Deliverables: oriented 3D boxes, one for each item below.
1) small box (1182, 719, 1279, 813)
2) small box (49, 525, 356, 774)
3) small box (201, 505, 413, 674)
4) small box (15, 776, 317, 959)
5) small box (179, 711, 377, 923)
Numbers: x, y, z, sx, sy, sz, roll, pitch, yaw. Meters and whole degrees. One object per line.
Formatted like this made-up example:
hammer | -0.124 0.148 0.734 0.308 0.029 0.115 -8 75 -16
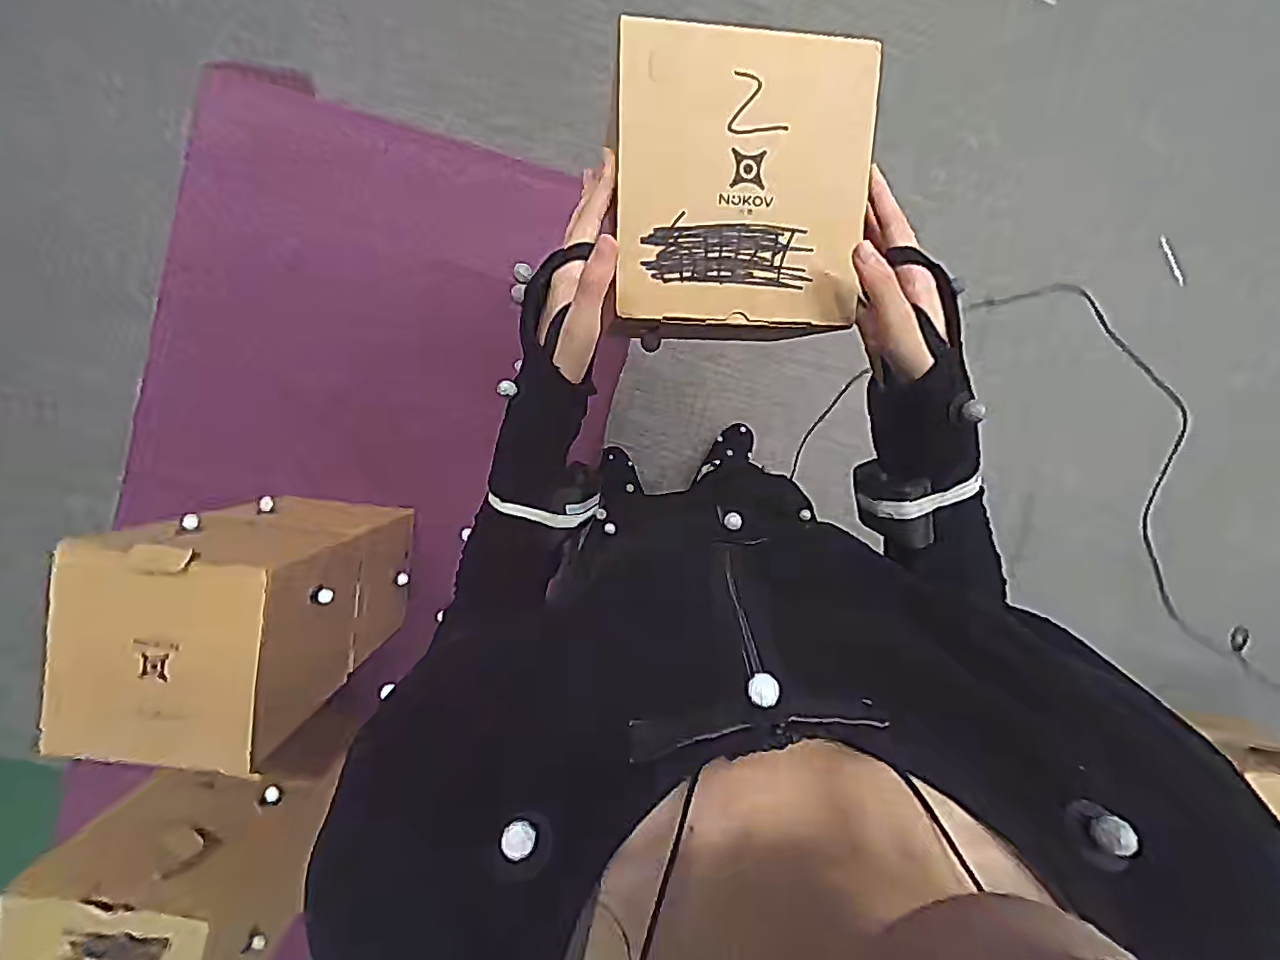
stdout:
small box | 1.733 0.818 1.557 0.168 0.176 0.179 8 96 -2
small box | -0.399 0.147 0.525 0.168 0.176 0.179 7 96 -3
small box | -0.412 0.128 0.687 0.179 0.176 0.168 5 96 -5
small box | -0.459 0.435 0.547 0.168 0.176 0.179 11 96 -5
small box | -0.468 0.421 0.710 0.168 0.176 0.179 11 94 -4
